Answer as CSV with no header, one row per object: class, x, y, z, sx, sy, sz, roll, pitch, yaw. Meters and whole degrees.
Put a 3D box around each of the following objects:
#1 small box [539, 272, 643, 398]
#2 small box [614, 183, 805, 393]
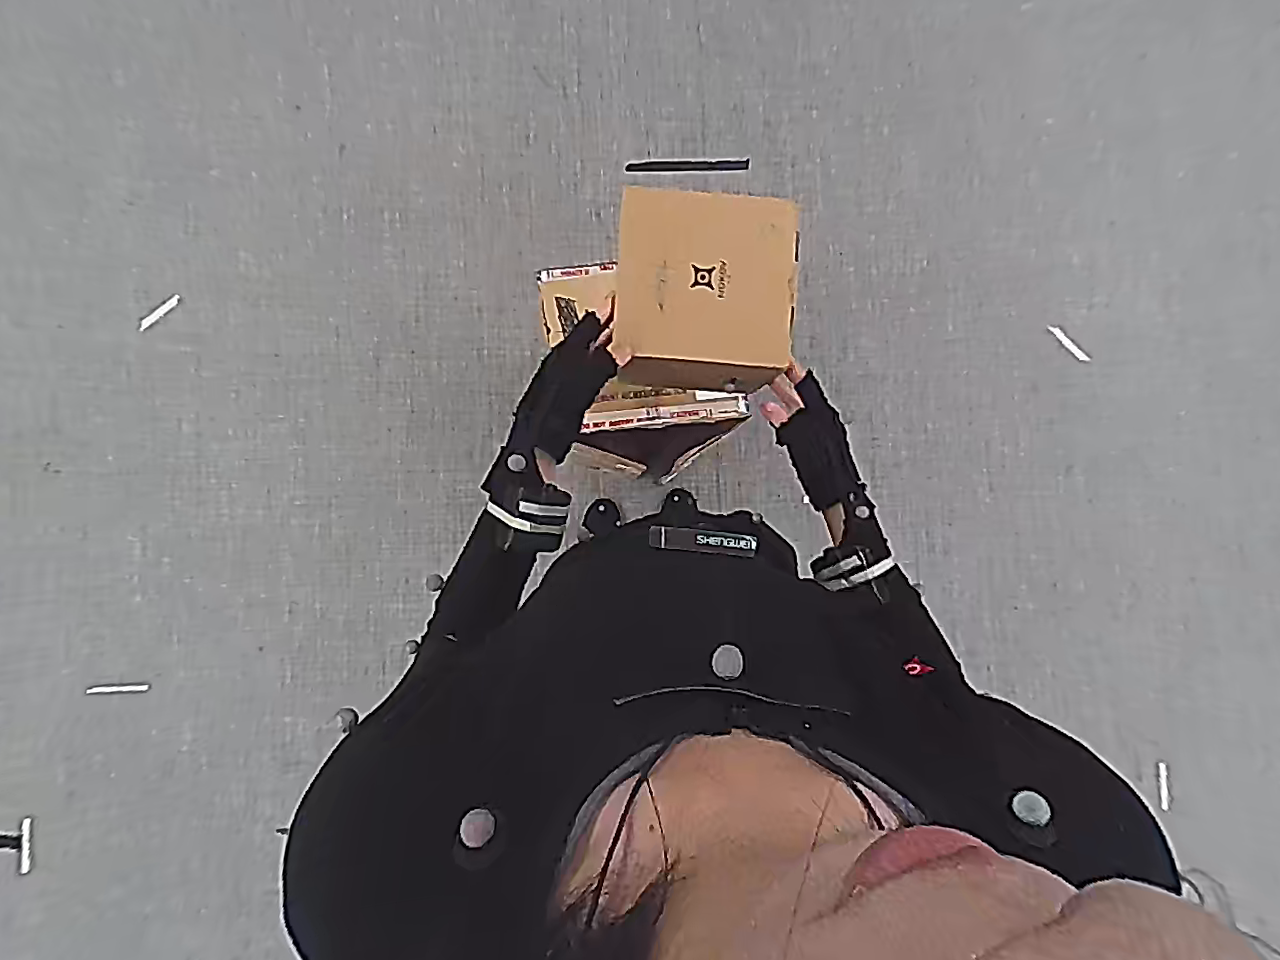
small box,-0.071,-0.251,0.966,0.179,0.176,0.168,-8,87,-2
small box,0.064,-0.194,0.594,0.179,0.176,0.168,4,89,-1
